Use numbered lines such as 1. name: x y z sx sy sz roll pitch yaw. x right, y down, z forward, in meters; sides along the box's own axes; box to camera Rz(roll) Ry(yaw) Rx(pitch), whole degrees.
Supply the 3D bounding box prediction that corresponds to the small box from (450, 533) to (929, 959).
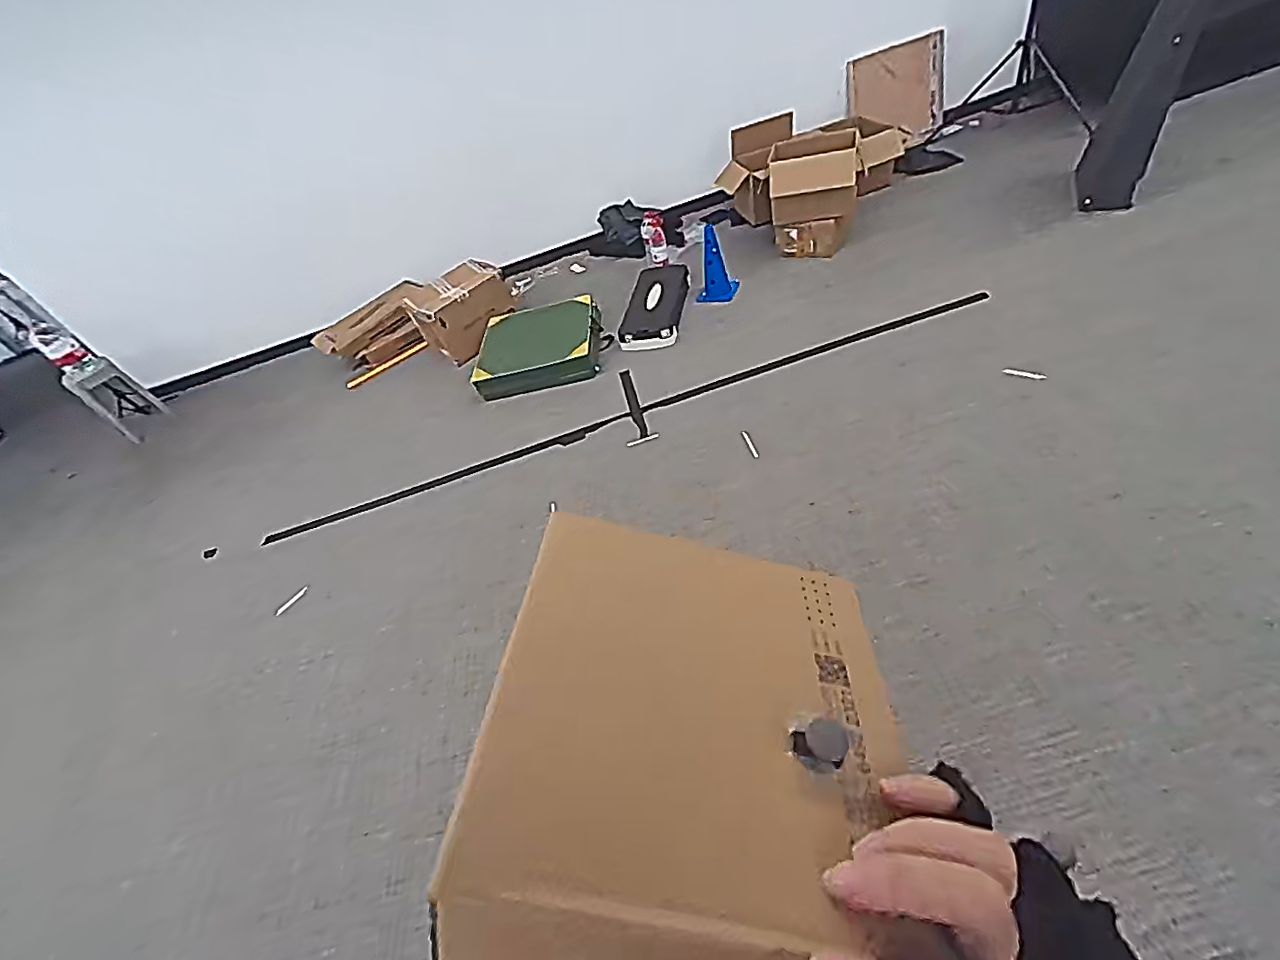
1. small box: 0.014 0.160 0.289 0.176 0.179 0.168 13 38 -4
